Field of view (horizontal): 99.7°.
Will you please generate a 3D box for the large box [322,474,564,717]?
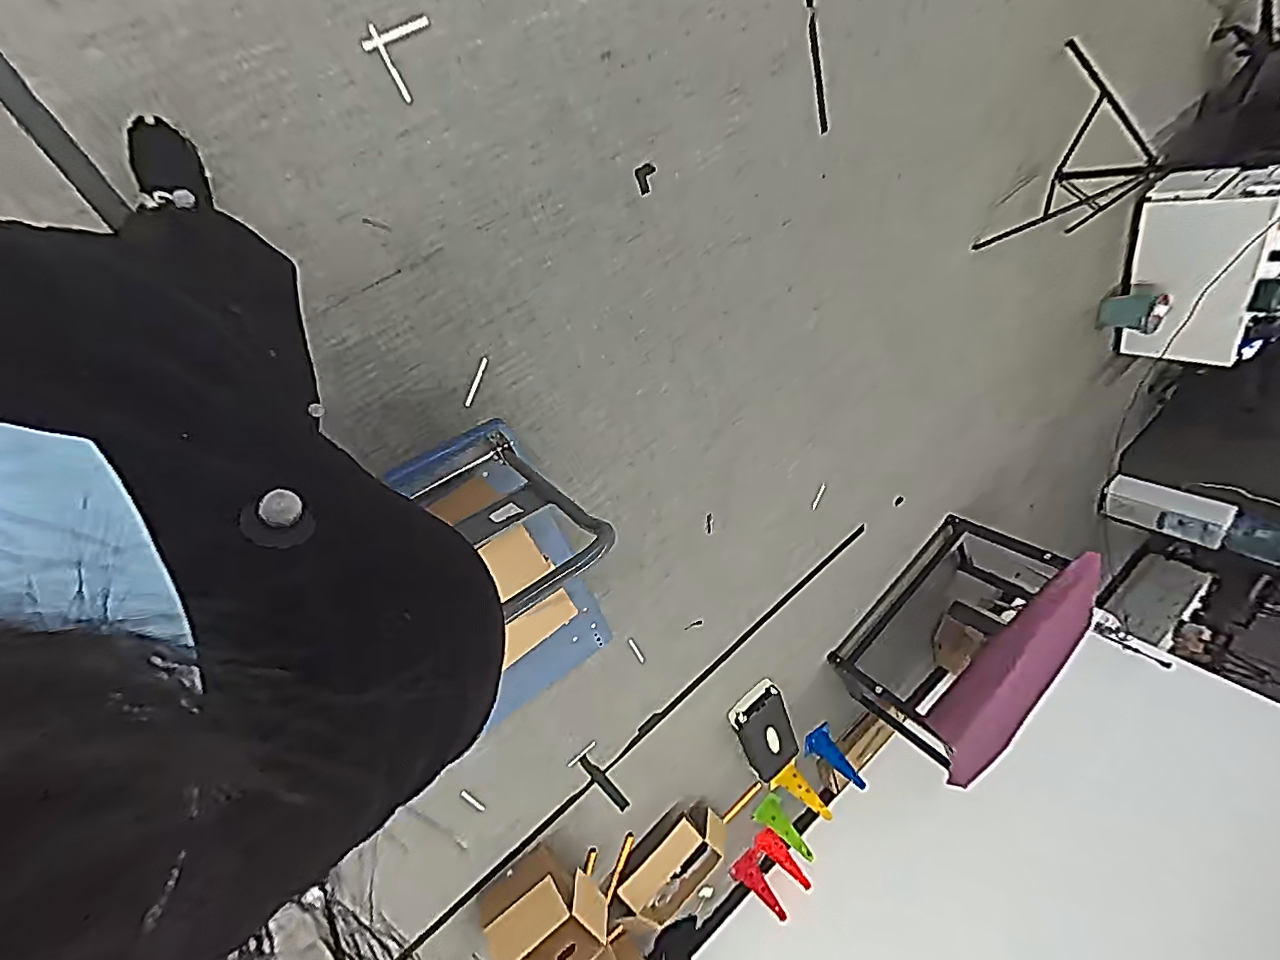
[{"bbox_3d":[-0.463,0.251,1.282,0.408,0.320,0.320,-35,125,-17],"label":"large box"}]
